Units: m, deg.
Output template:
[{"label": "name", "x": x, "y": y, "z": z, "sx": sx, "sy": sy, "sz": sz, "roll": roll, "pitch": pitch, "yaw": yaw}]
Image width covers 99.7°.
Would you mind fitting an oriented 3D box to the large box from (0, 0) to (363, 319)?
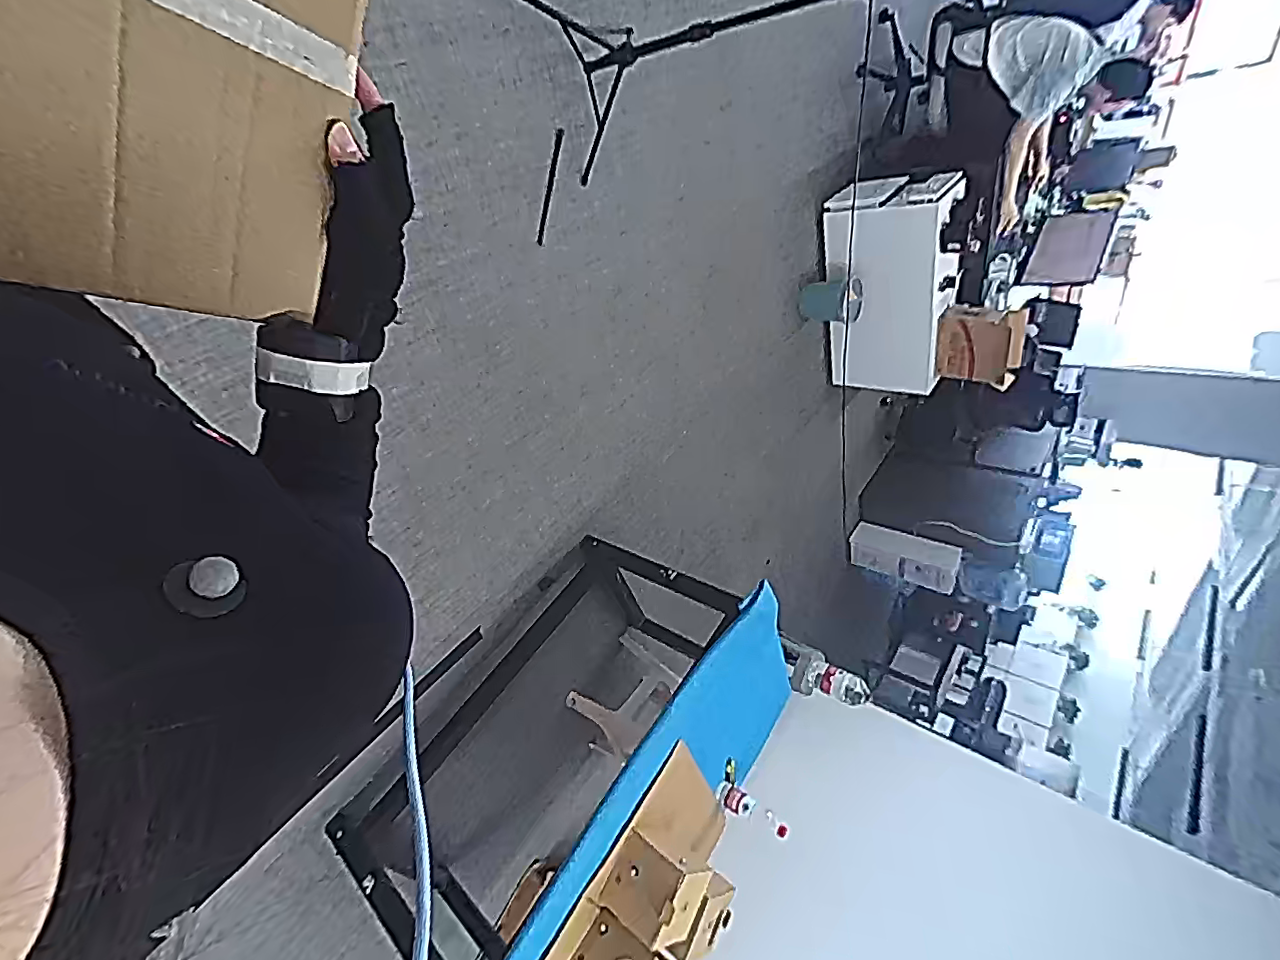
[{"label": "large box", "x": -0.409, "y": -0.310, "z": 0.263, "sx": 0.408, "sy": 0.320, "sz": 0.320, "roll": -3, "pitch": 125, "yaw": -50}]
